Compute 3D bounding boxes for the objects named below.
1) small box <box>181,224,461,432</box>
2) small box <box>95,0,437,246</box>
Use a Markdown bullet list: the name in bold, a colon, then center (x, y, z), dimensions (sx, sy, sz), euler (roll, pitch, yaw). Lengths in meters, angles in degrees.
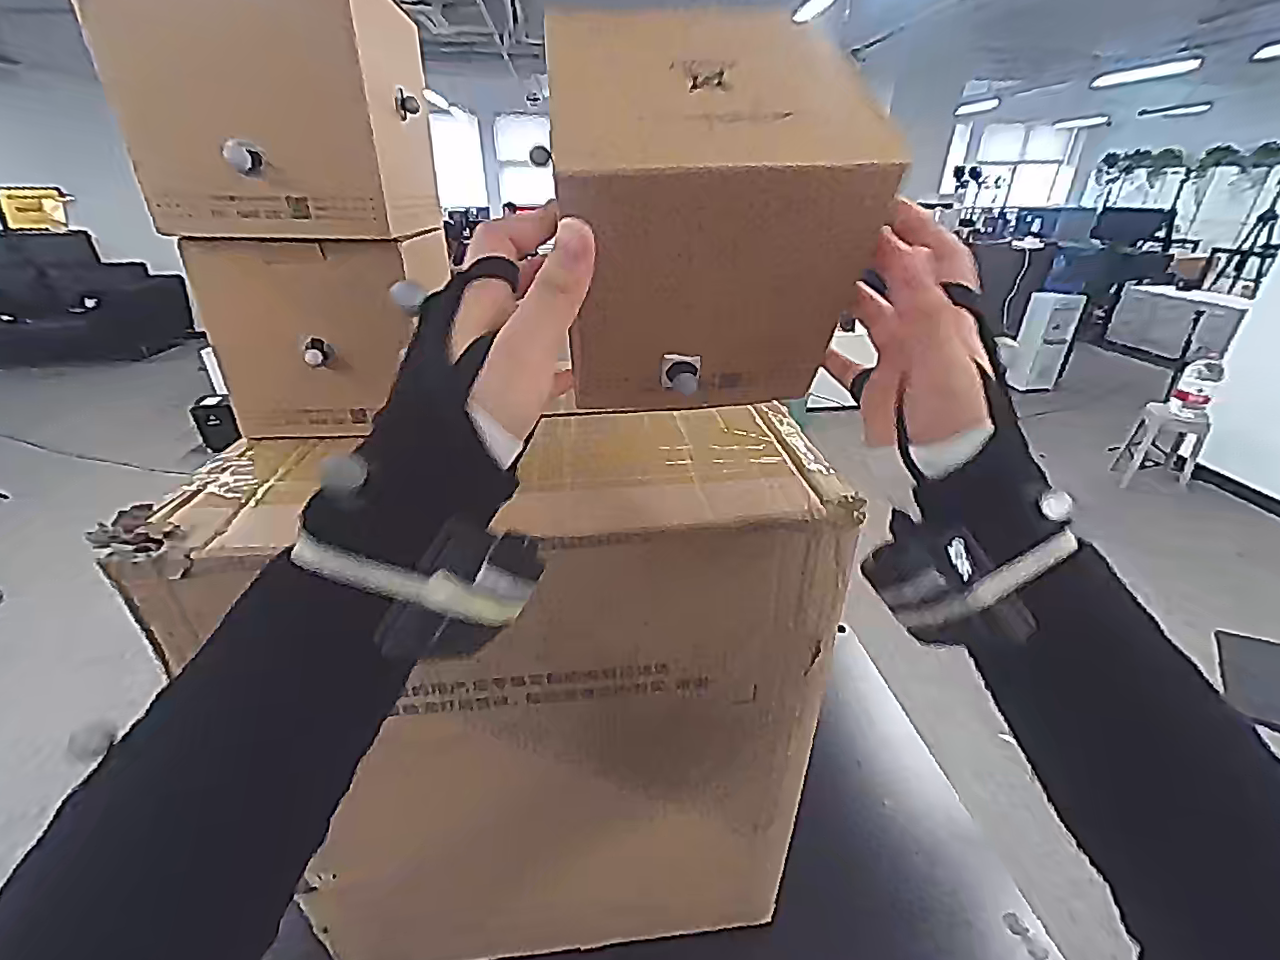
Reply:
- **small box**: center (-0.280, -0.152, 0.530), dimensions (0.168, 0.176, 0.179), euler (-2, 29, -7)
- **small box**: center (-0.273, -0.290, 0.437), dimensions (0.168, 0.176, 0.179), euler (-2, 29, -5)
